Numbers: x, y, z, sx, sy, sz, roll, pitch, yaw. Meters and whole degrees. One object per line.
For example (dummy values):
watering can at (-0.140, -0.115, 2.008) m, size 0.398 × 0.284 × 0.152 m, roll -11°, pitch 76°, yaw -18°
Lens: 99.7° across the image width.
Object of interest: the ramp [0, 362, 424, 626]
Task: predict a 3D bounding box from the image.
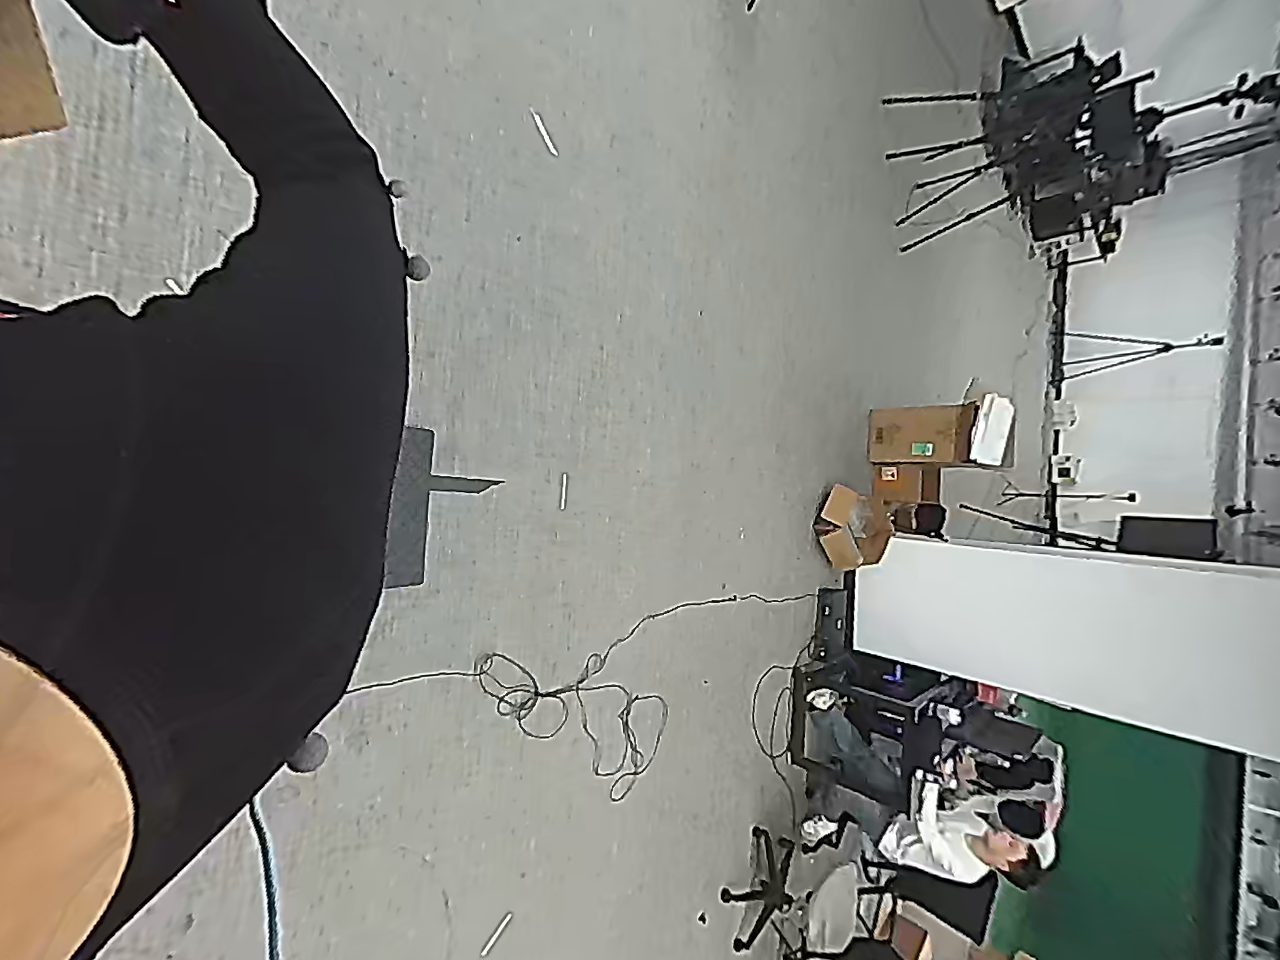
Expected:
ramp at (-0.976, 0.043, 1.291) m, size 0.991 × 0.206 × 0.509 m, roll 2°, pitch 89°, yaw -45°
